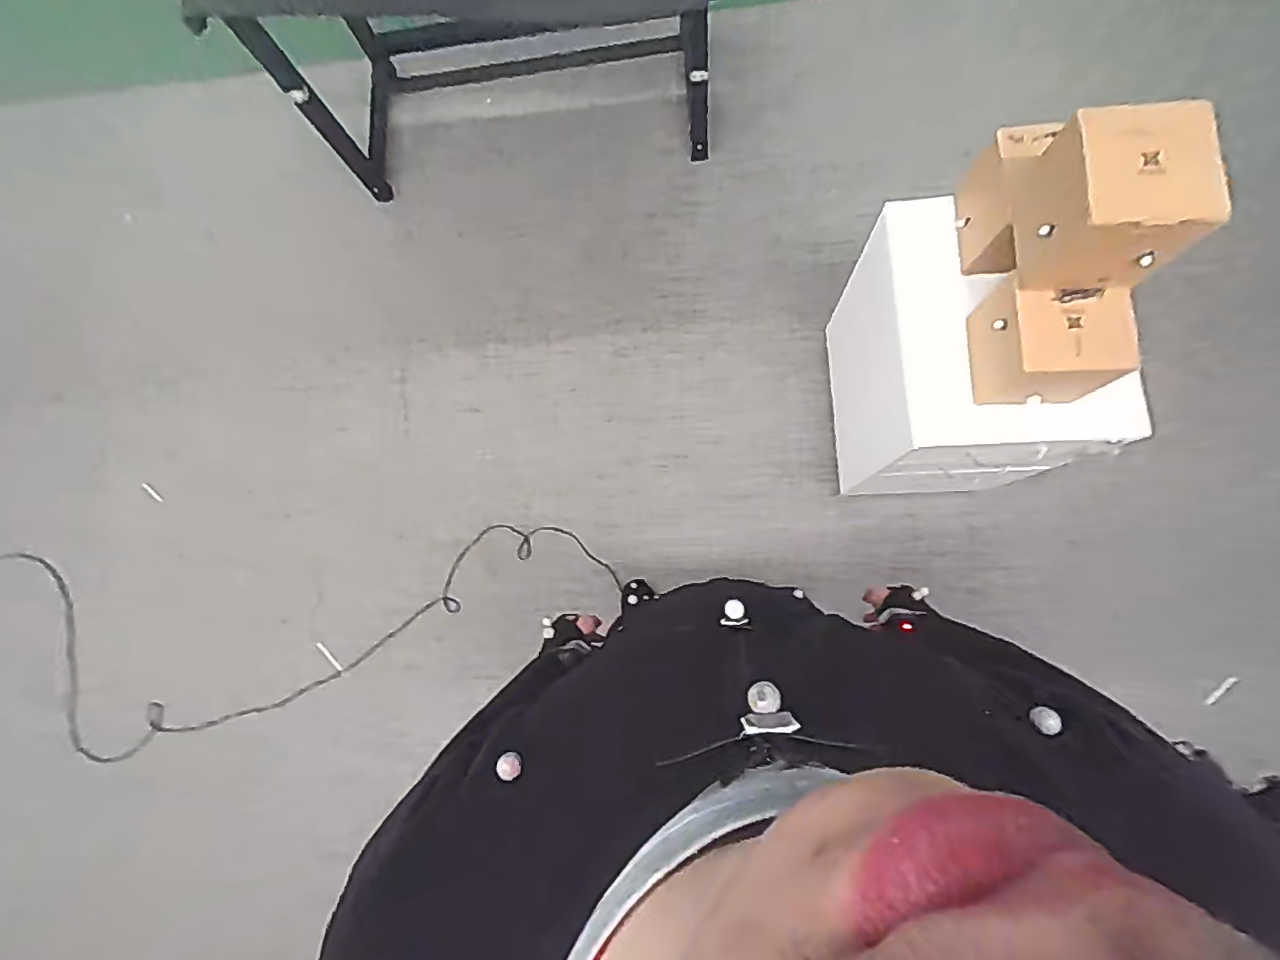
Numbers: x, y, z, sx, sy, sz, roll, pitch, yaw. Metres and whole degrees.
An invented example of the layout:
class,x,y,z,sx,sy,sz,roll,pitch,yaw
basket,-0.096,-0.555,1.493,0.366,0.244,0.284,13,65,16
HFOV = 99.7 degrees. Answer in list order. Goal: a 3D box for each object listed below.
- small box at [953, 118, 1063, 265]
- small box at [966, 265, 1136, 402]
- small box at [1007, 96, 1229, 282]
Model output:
class,x,y,z,sx,sy,sz,roll,pitch,yaw
small box,0.681,-0.497,0.956,0.168,0.176,0.179,-2,82,6
small box,0.674,-0.241,0.911,0.168,0.176,0.179,0,80,7
small box,0.664,-0.401,0.776,0.168,0.176,0.179,0,79,6
